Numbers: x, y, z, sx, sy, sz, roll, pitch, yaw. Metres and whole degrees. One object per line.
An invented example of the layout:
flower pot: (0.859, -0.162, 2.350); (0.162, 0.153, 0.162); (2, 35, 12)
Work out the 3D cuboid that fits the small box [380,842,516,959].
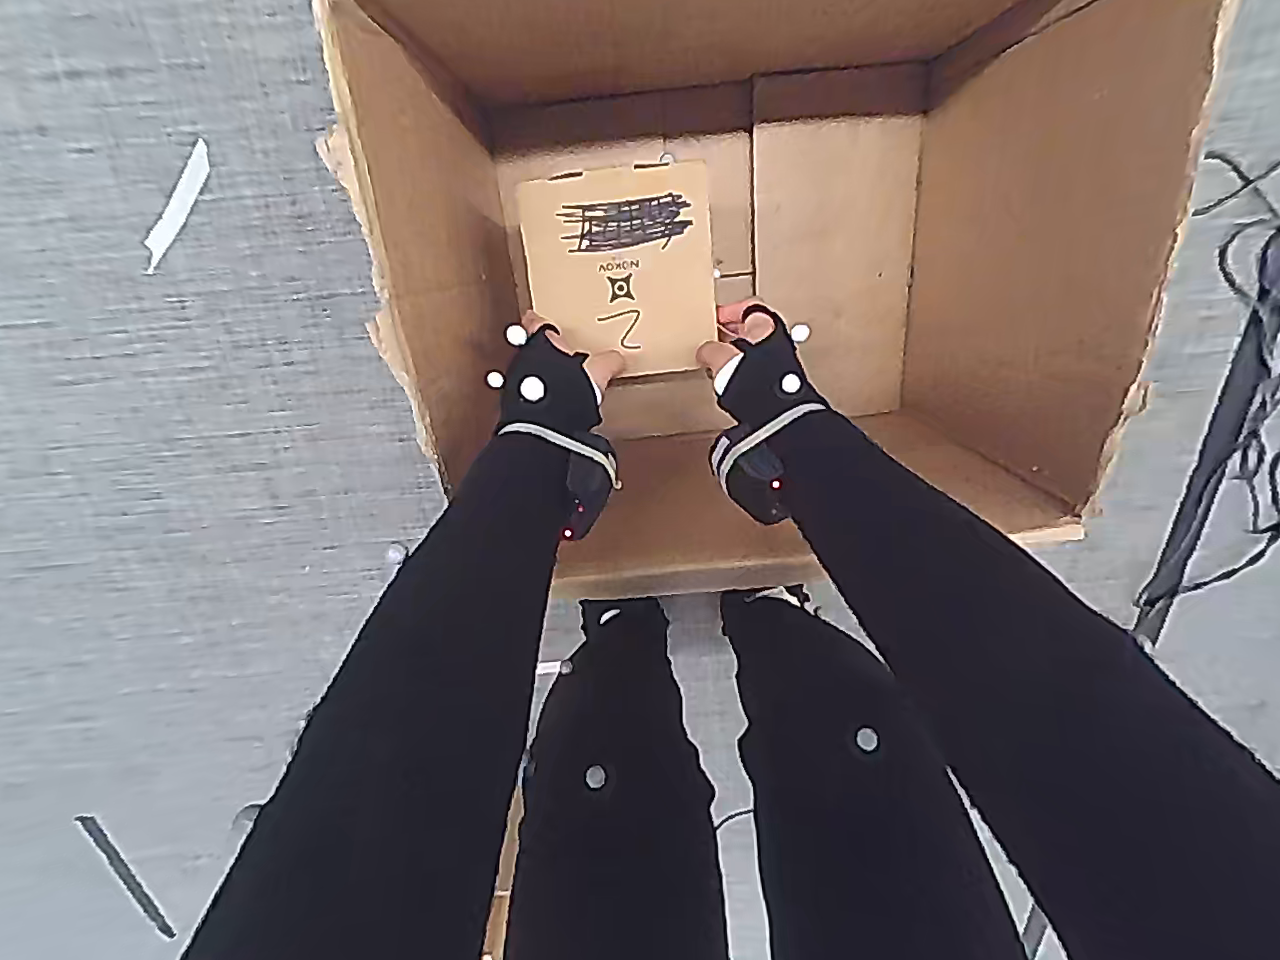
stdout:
small box: (-0.311, 0.750, 0.920); (0.179, 0.176, 0.168); (-1, 113, -3)
